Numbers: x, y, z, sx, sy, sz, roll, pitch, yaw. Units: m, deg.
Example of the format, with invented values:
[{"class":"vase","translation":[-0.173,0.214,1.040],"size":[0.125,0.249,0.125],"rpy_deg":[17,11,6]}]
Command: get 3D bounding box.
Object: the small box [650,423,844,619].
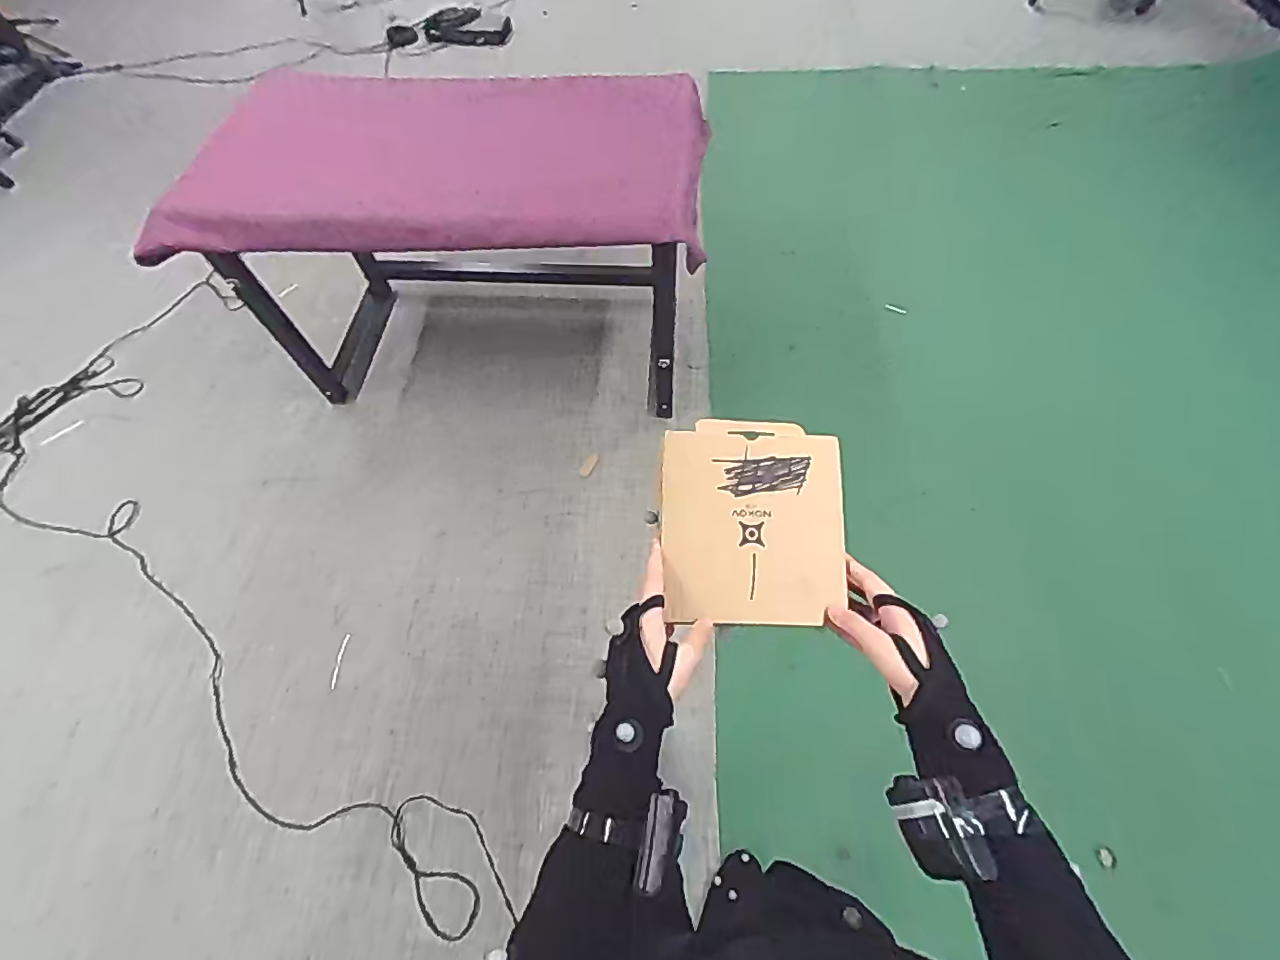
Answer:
[{"class":"small box","translation":[0.097,0.053,0.567],"size":[0.168,0.176,0.179],"rpy_deg":[1,75,0]}]
